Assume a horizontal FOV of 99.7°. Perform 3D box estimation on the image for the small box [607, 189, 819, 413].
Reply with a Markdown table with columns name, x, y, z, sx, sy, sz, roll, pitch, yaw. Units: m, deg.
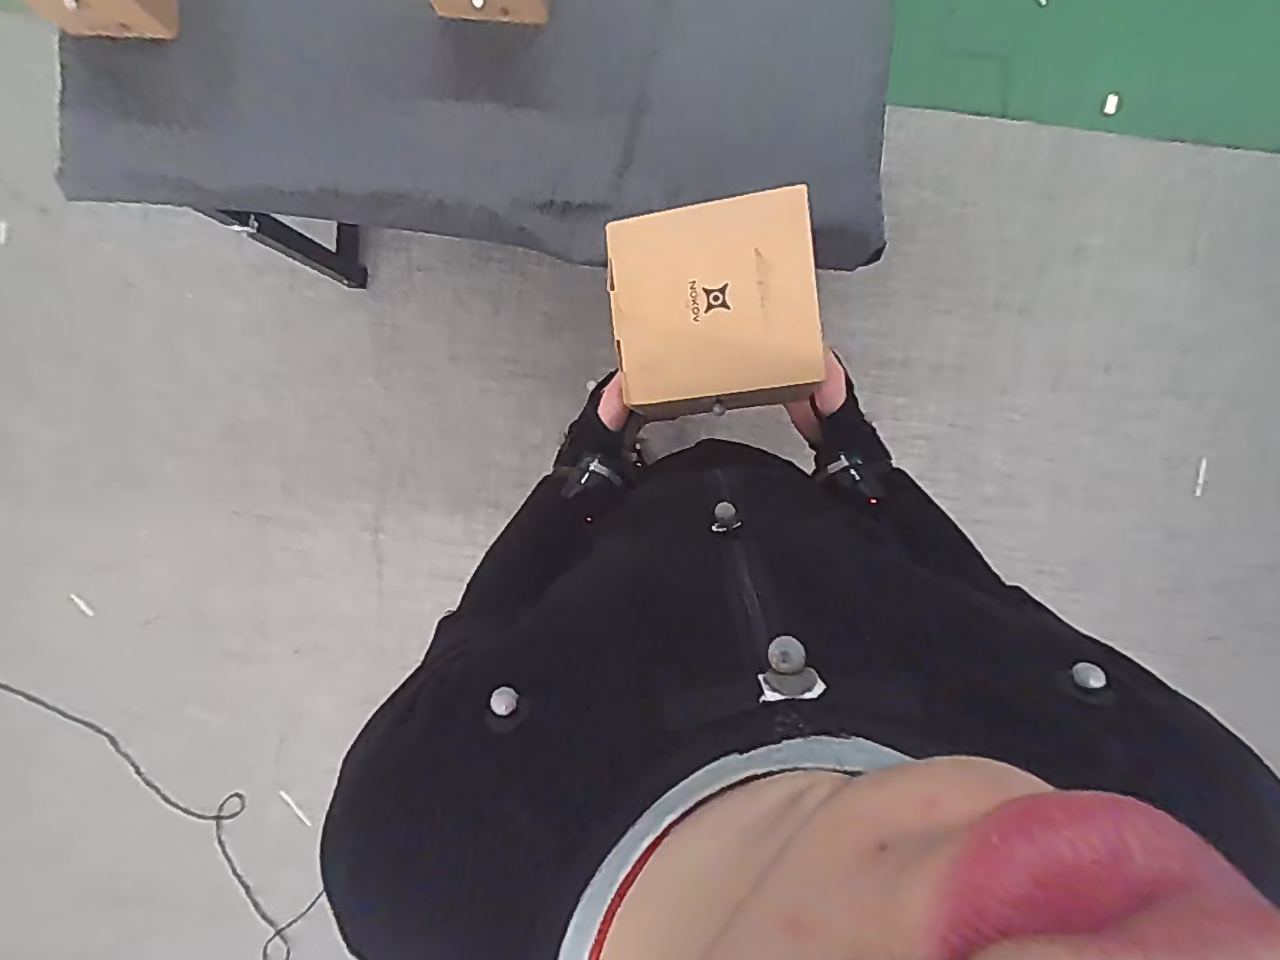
| name | x | y | z | sx | sy | sz | roll | pitch | yaw |
| --- | --- | --- | --- | --- | --- | --- | --- | --- | --- |
| small box | 0.076 | -0.164 | 0.556 | 0.179 | 0.176 | 0.168 | -6 | 93 | 9 |

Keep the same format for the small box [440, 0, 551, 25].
| name | x | y | z | sx | sy | sz | roll | pitch | yaw |
| --- | --- | --- | --- | --- | --- | --- | --- | --- | --- |
| small box | -0.205 | -0.752 | 0.703 | 0.168 | 0.176 | 0.179 | 5 | 95 | 1 |

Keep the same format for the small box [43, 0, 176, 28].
| name | x | y | z | sx | sy | sz | roll | pitch | yaw |
| --- | --- | --- | --- | --- | --- | --- | --- | --- | --- |
| small box | -0.757 | -0.743 | 0.710 | 0.168 | 0.176 | 0.179 | 3 | 95 | 0 |
